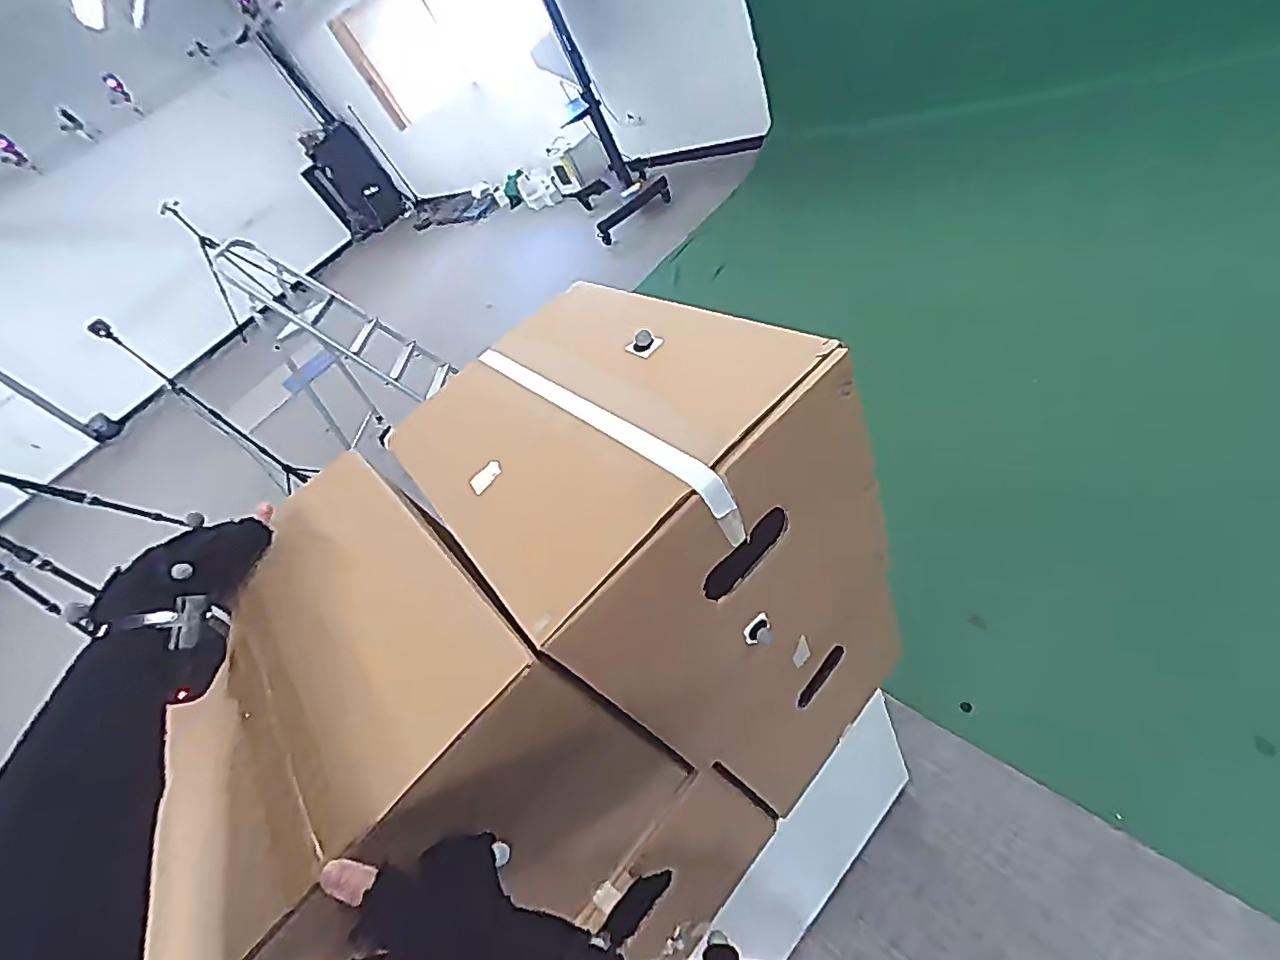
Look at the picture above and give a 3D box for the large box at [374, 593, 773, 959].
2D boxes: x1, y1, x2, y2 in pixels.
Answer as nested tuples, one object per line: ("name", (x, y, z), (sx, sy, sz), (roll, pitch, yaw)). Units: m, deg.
("large box", (-0.092, 0.436, 0.763), (0.320, 0.320, 0.408), (-46, 41, -17))
